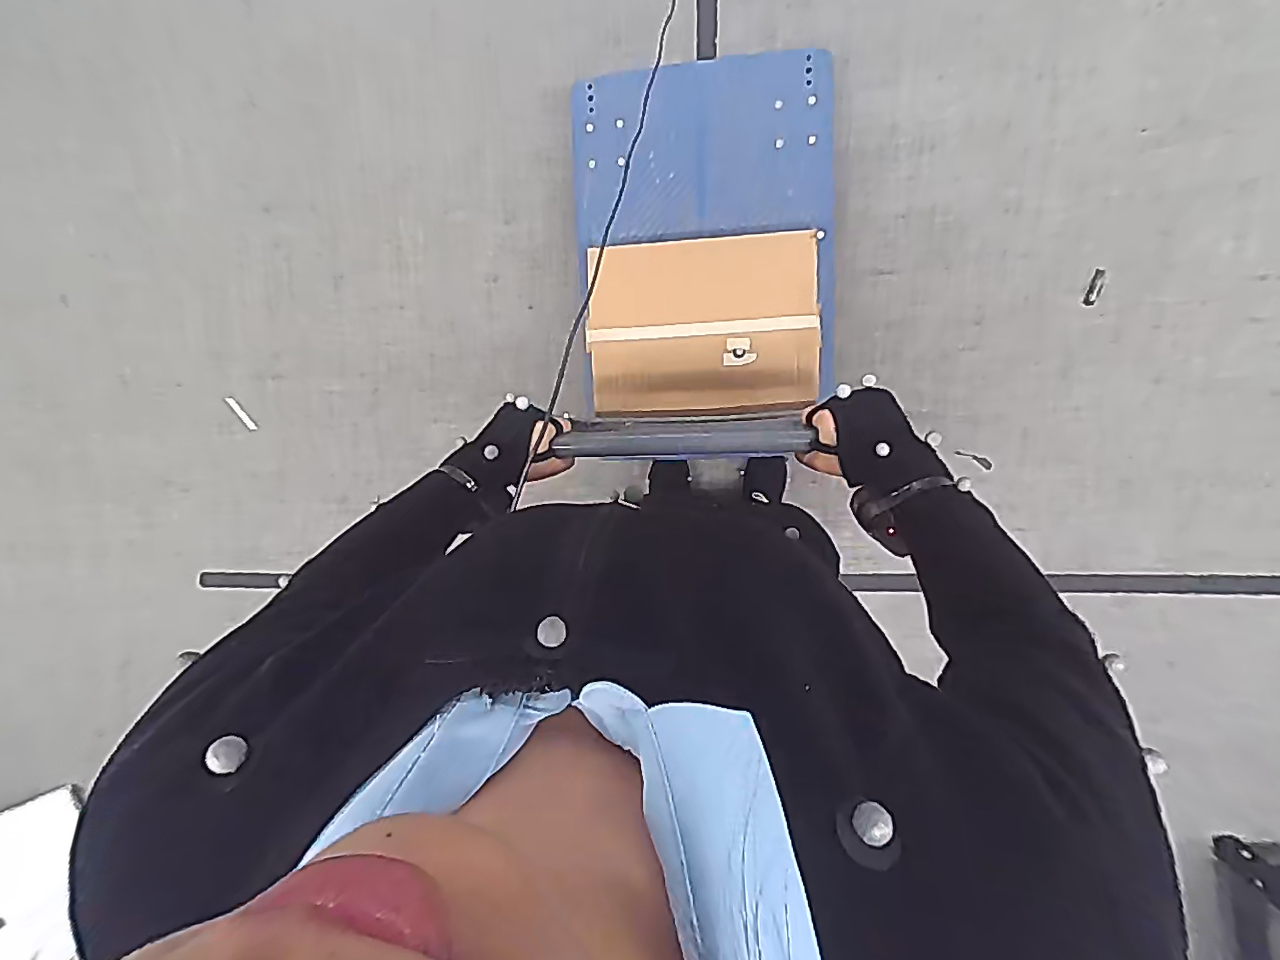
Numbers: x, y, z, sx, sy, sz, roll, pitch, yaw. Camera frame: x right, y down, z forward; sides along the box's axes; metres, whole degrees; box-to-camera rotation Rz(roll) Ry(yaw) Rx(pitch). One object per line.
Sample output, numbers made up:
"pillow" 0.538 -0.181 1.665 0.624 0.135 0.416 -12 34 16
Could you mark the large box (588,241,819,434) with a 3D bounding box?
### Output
"large box" 0.126 -0.258 1.102 0.408 0.320 0.320 -2 95 7
